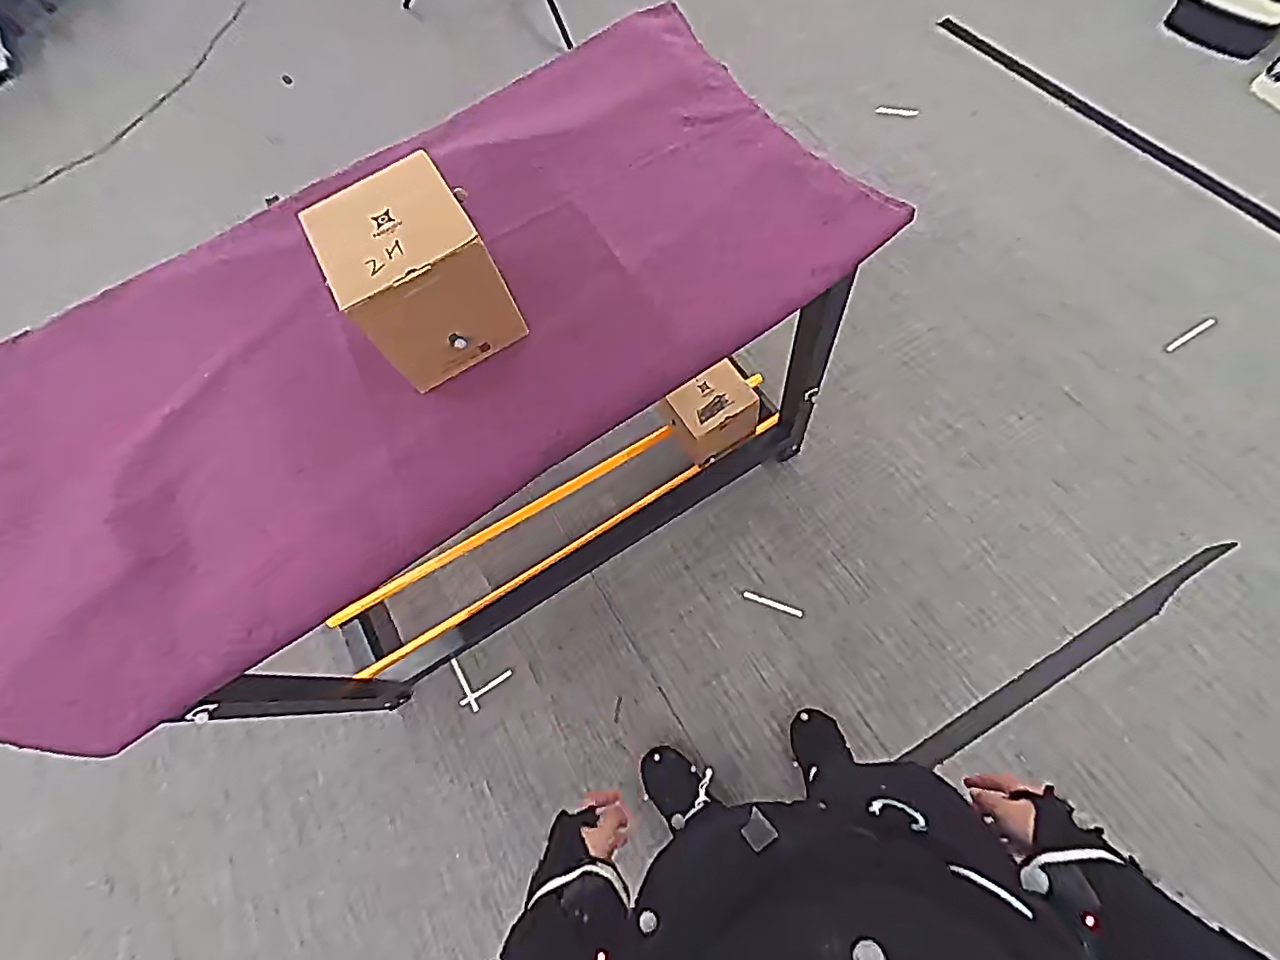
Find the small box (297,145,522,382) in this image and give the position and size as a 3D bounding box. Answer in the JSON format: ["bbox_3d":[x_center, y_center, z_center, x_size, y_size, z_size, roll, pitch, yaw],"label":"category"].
[{"bbox_3d":[-0.271,-0.256,0.665,0.168,0.176,0.179,-31,68,-4],"label":"small box"}]

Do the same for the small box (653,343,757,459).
[{"bbox_3d":[0.151,-0.169,1.237,0.168,0.176,0.179,-32,67,-4],"label":"small box"}]
